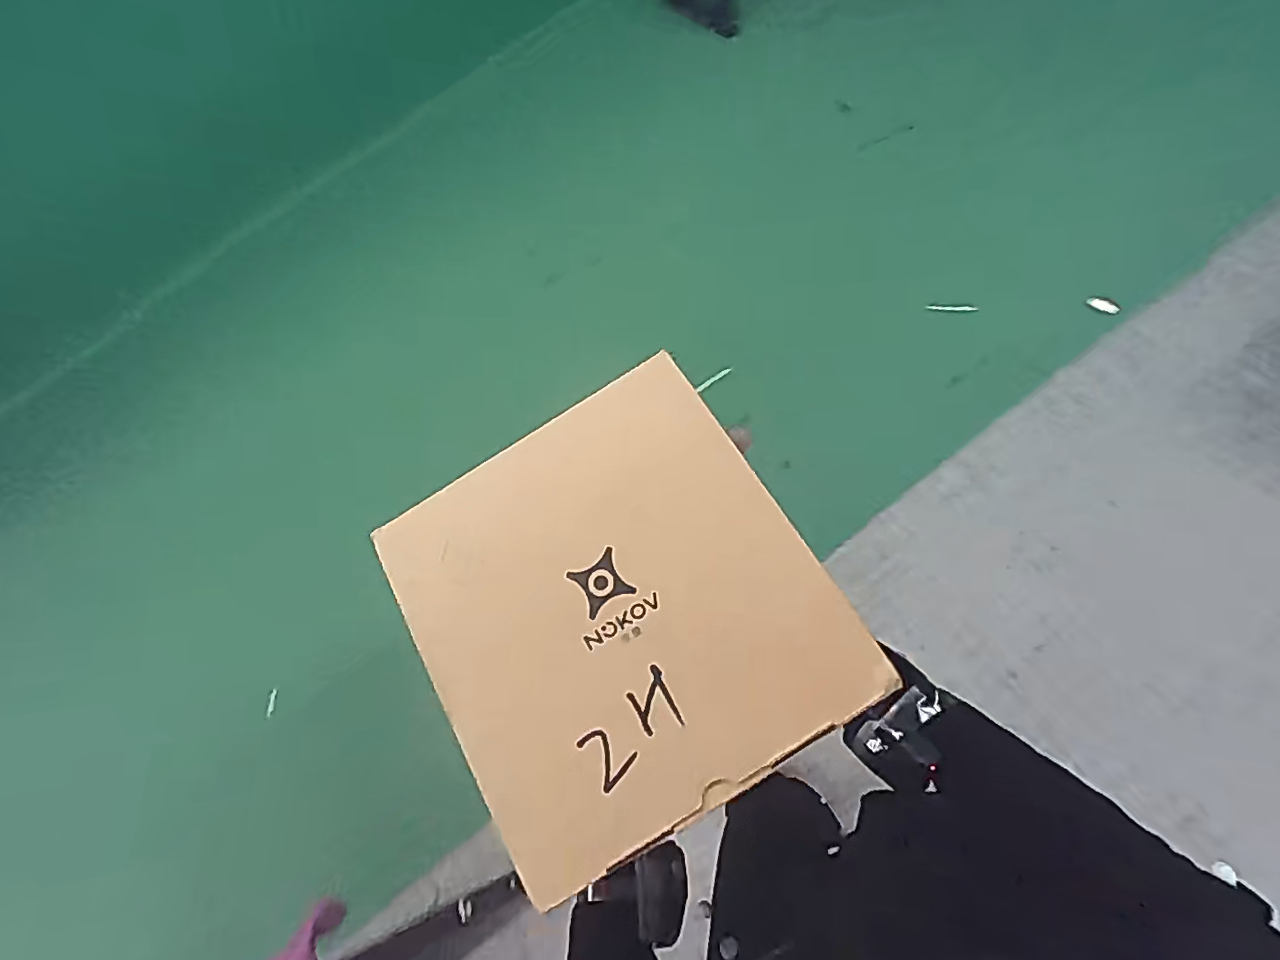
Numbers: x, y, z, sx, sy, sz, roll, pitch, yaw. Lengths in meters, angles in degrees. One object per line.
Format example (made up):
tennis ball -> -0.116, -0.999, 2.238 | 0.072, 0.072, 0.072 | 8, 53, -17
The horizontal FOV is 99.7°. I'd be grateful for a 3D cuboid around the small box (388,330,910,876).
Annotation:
small box -> 0.004, 0.060, 0.302 | 0.168, 0.176, 0.179 | -30, 73, 1
